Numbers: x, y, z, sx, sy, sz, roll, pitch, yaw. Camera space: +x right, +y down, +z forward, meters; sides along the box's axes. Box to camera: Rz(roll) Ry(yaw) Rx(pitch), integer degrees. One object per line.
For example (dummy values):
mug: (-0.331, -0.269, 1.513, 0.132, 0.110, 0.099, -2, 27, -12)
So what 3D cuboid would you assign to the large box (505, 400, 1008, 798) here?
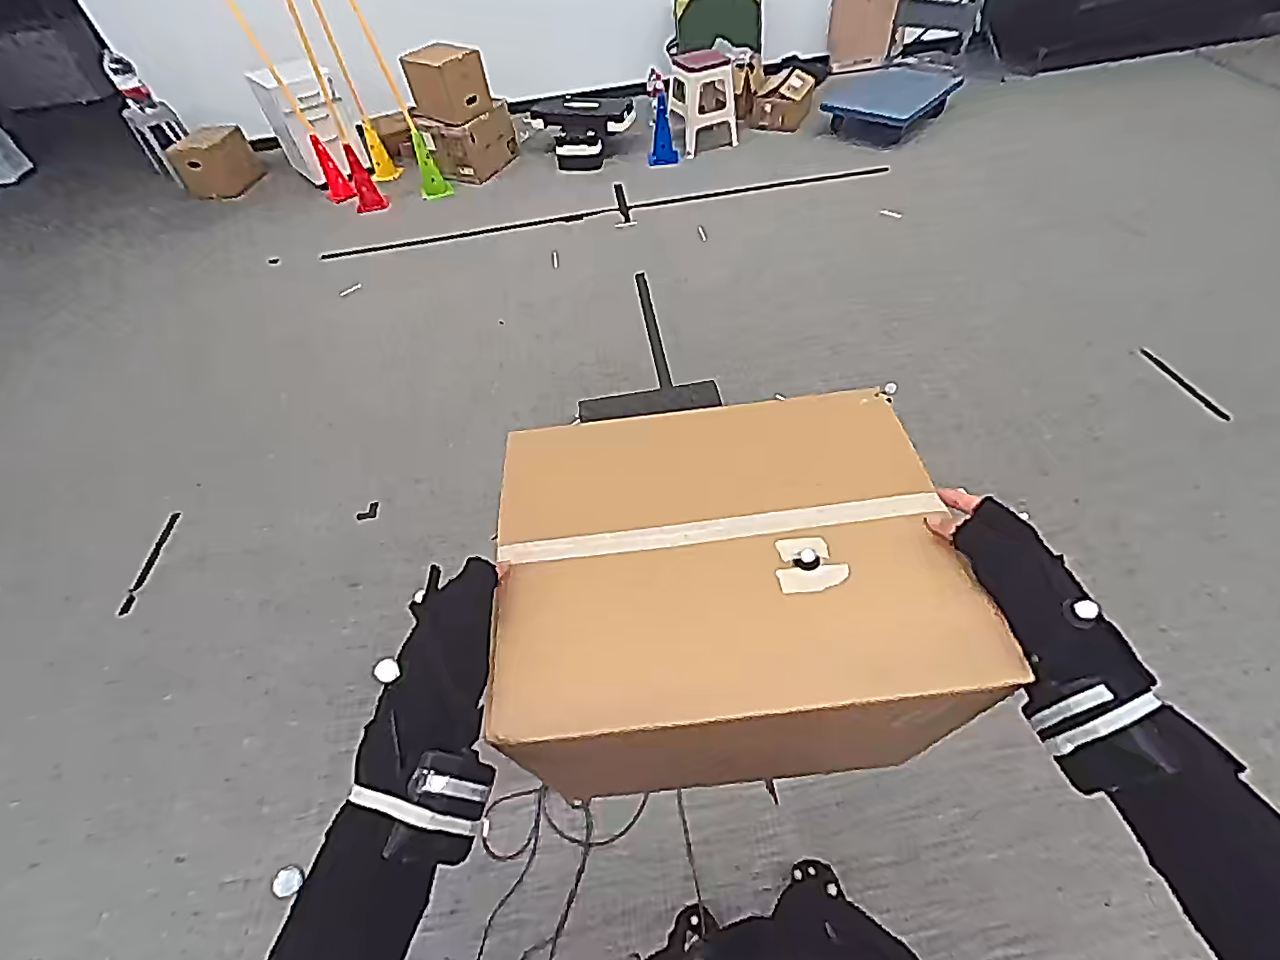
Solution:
large box: (0.085, 0.145, 0.623, 0.408, 0.320, 0.320, -7, 52, 0)
